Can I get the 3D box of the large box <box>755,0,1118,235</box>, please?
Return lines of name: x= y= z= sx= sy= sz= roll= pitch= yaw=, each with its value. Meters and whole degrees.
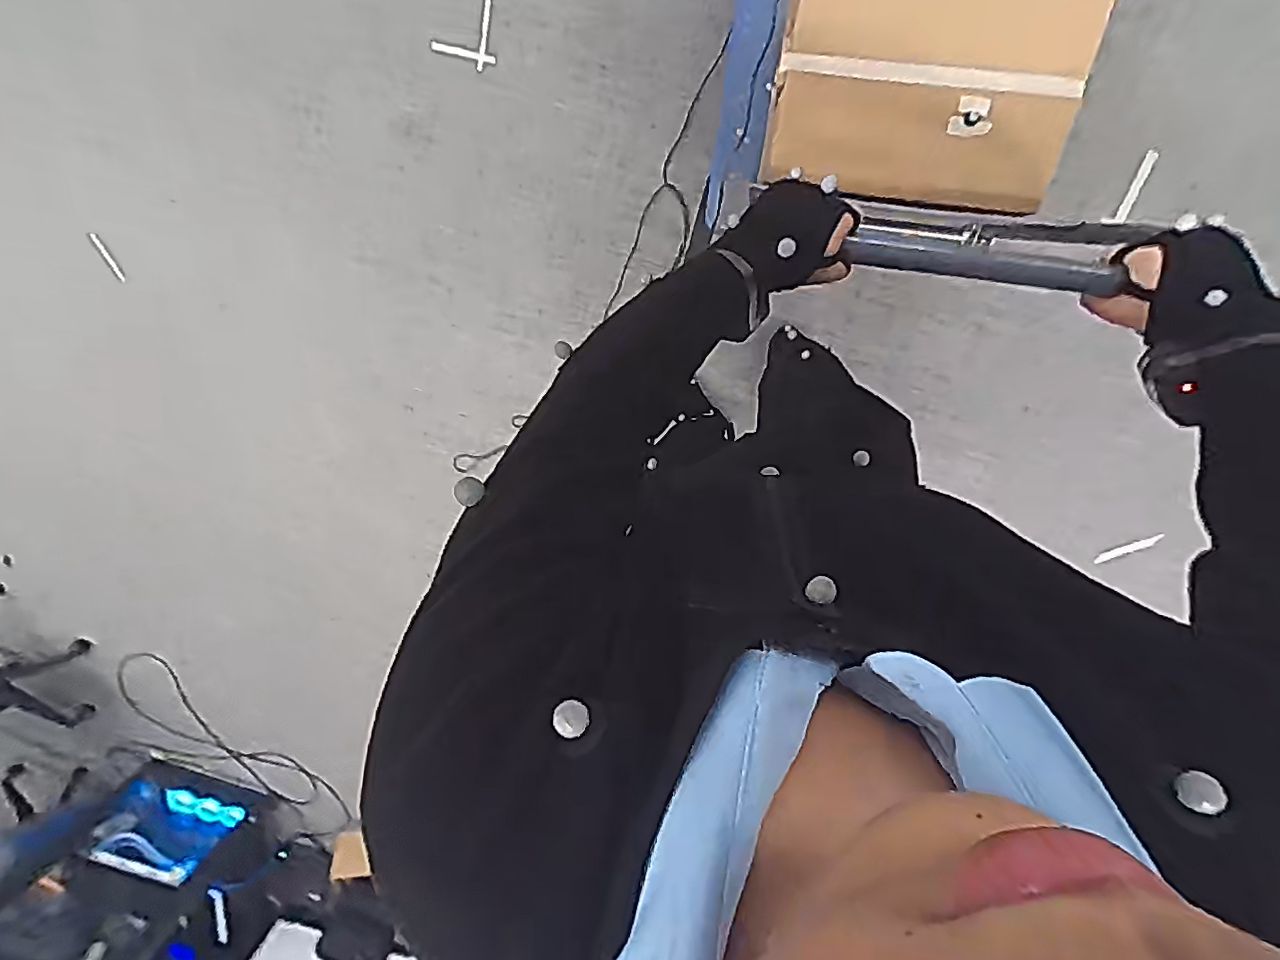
large box: x=0.424 y=-0.599 z=0.888 sx=0.408 sy=0.320 sz=0.320 roll=9 pitch=113 yaw=4
